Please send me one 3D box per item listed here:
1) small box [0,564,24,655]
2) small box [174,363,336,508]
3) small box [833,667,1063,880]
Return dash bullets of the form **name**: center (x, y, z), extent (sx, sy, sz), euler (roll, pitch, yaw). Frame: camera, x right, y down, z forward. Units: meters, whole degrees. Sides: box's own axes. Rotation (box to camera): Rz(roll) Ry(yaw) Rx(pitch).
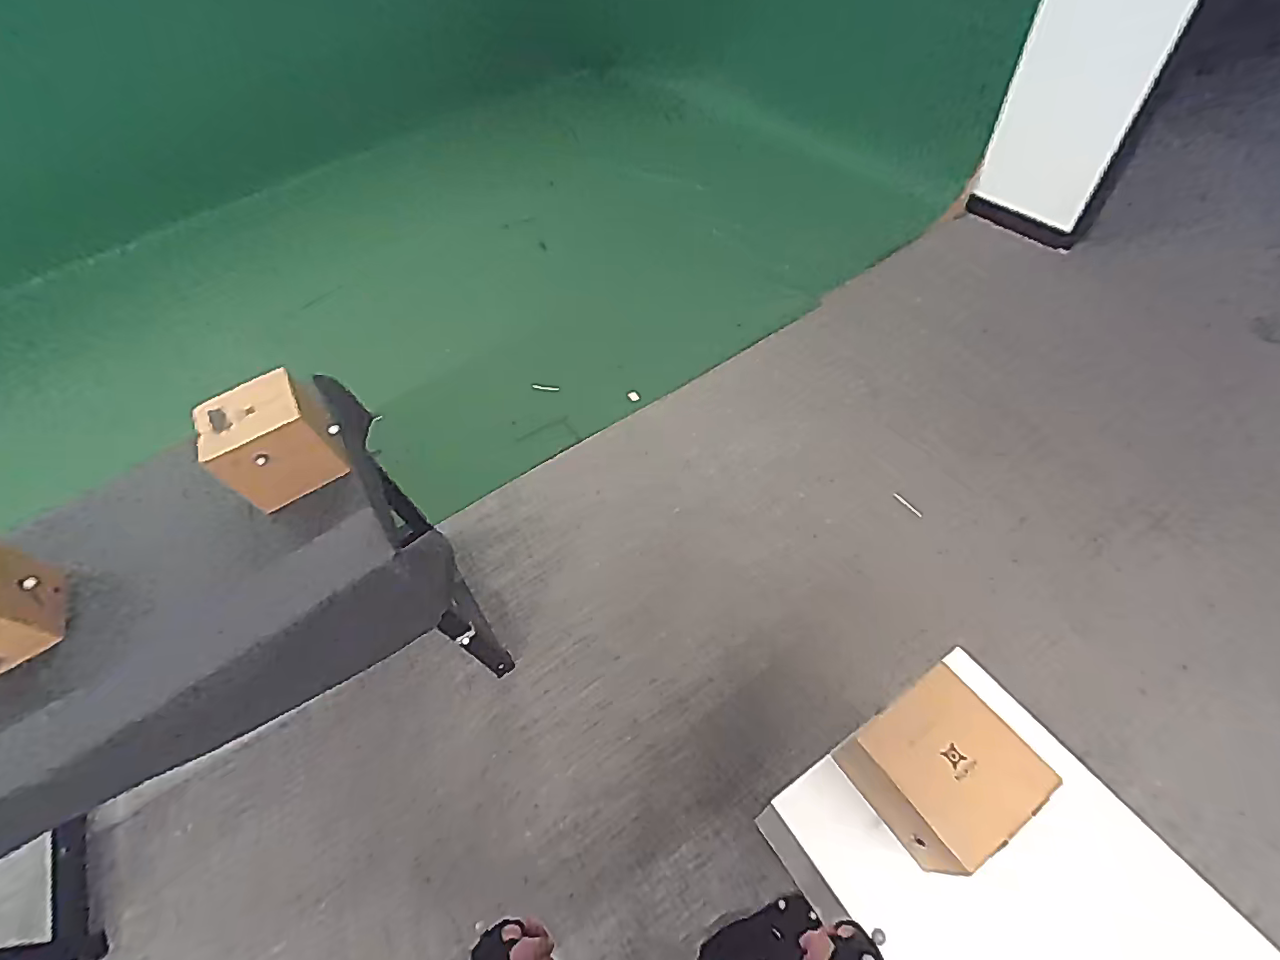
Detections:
- **small box**: center (-1.132, 0.212, 0.840), extent (0.179, 0.176, 0.168), euler (-31, 57, -16)
- **small box**: center (-0.708, -0.078, 1.003), extent (0.179, 0.176, 0.168), euler (-29, 57, -15)
- **small box**: center (0.392, 0.389, 0.722), extent (0.168, 0.176, 0.179), euler (-31, 57, -18)
